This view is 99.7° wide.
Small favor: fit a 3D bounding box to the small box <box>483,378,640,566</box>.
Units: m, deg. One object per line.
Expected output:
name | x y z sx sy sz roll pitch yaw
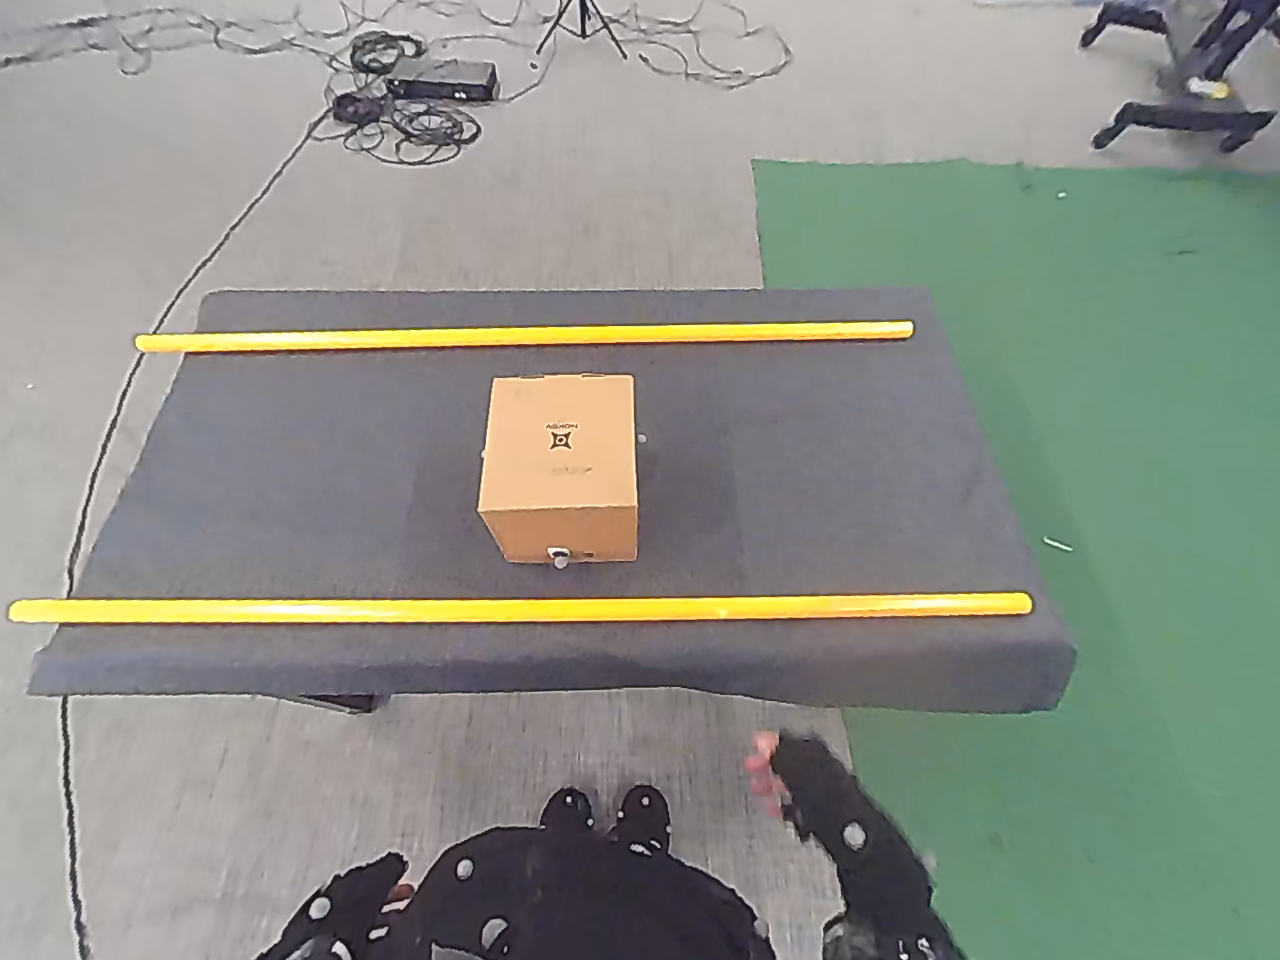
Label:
small box | -0.086 -0.006 0.672 0.168 0.176 0.179 -3 62 -1
